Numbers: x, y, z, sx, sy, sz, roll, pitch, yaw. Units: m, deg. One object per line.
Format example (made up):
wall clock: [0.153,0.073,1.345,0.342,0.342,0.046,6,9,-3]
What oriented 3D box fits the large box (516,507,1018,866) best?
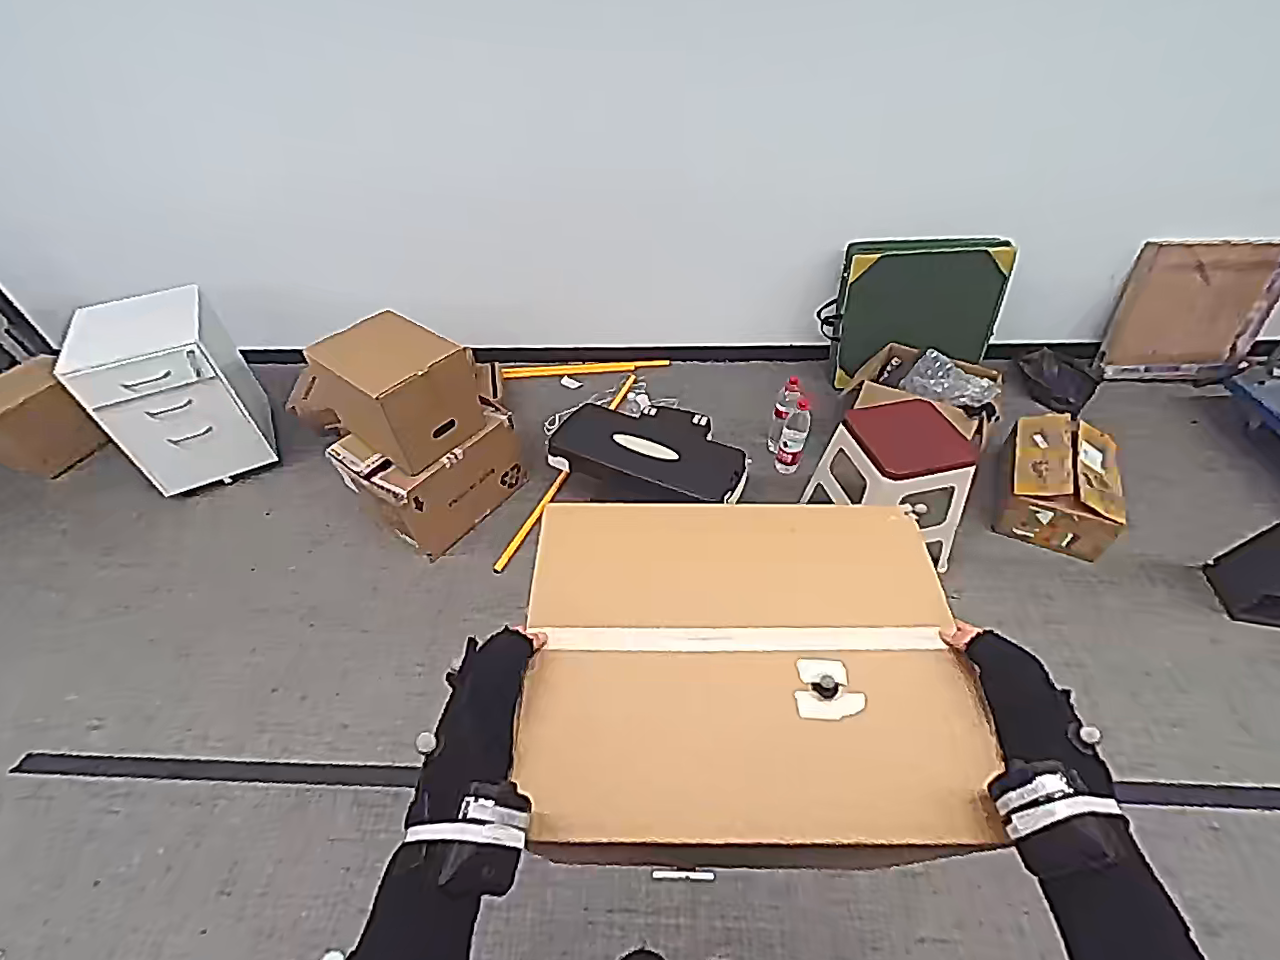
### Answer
large box: [0.096,0.245,0.627,0.408,0.320,0.320,0,52,0]
